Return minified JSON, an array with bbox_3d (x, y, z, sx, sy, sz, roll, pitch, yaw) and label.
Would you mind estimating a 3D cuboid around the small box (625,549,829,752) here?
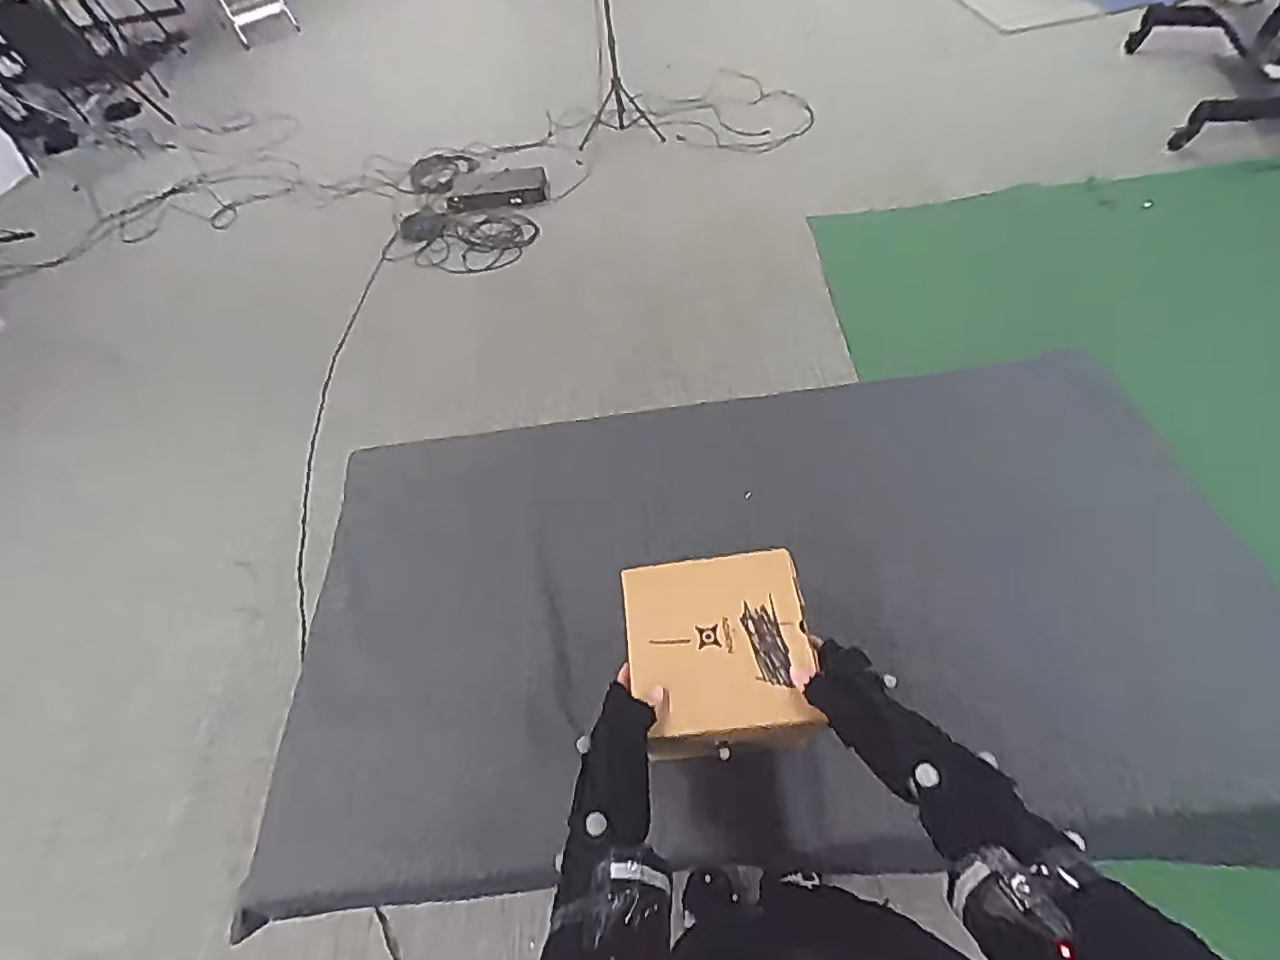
[{"bbox_3d":[0.085,0.191,0.588,0.179,0.176,0.168,-8,57,4],"label":"small box"}]
